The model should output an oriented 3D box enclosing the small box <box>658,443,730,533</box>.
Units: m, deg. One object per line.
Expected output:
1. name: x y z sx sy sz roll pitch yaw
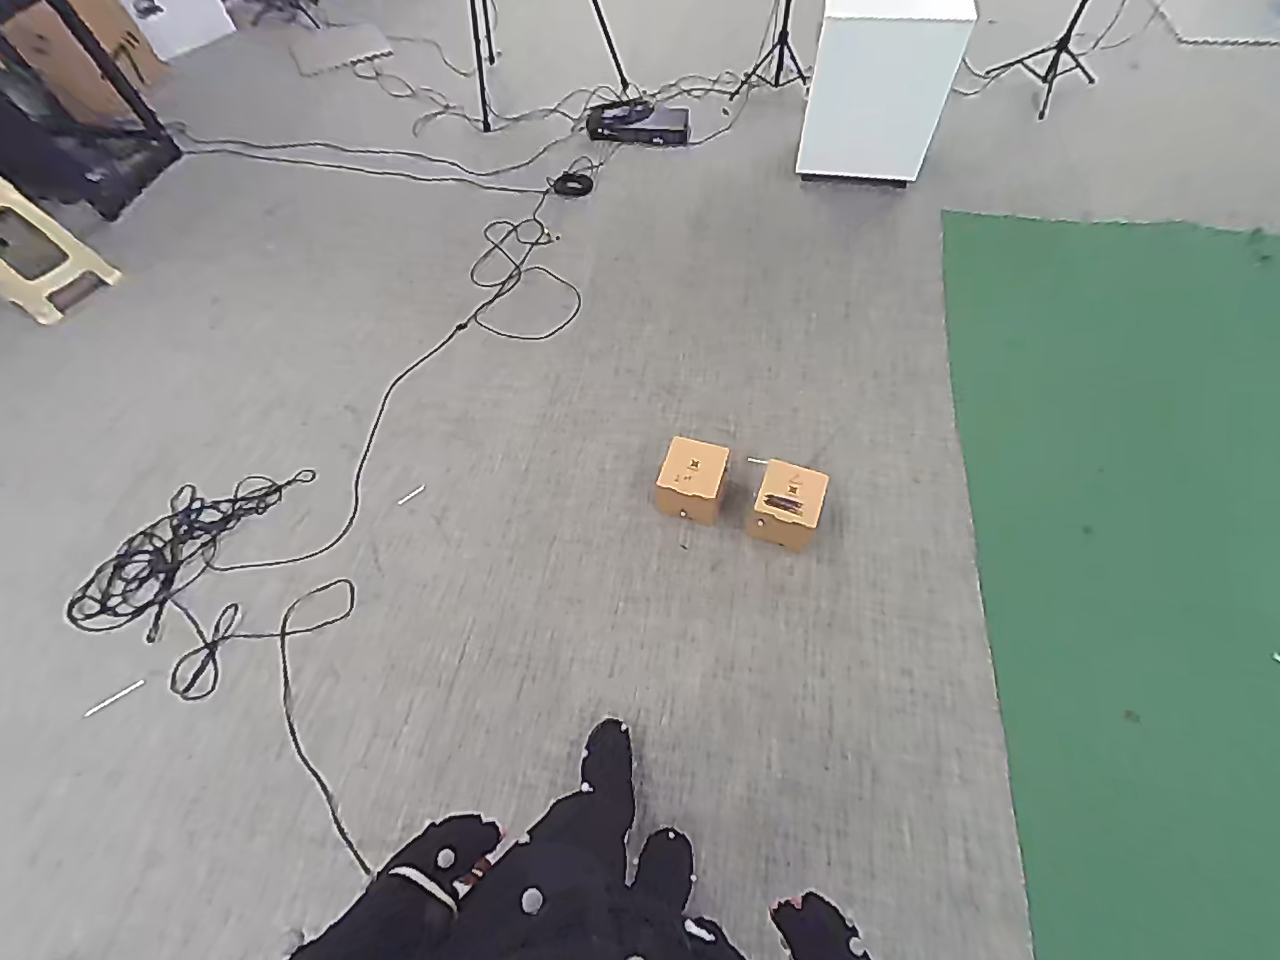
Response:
1. small box: 0.155 0.026 1.567 0.168 0.176 0.179 15 61 13
